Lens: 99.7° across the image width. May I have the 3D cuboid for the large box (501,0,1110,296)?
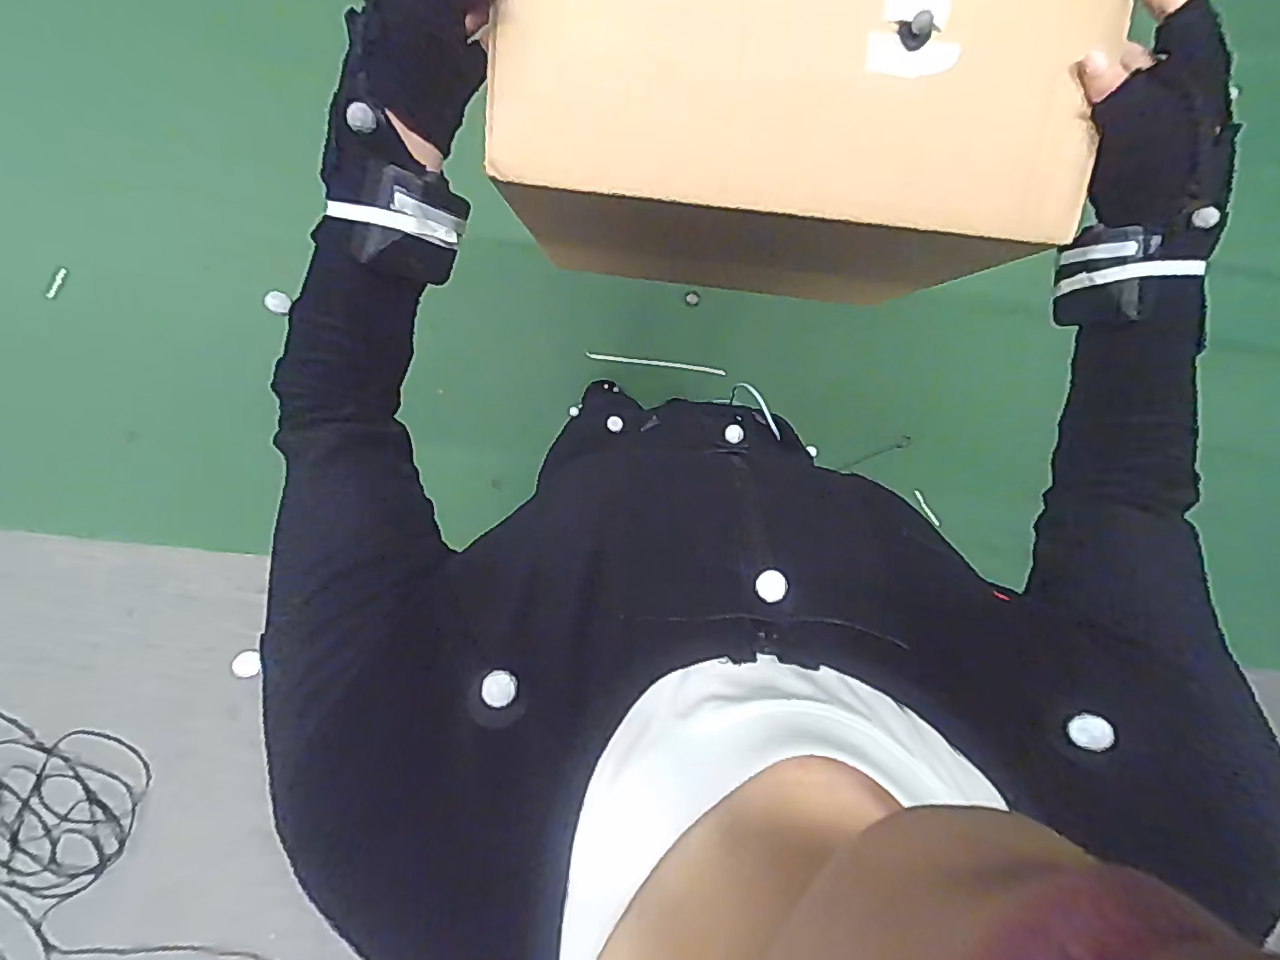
[{"bbox_3d":[0.111,-0.368,0.498,0.408,0.320,0.320,6,101,-1],"label":"large box"}]
